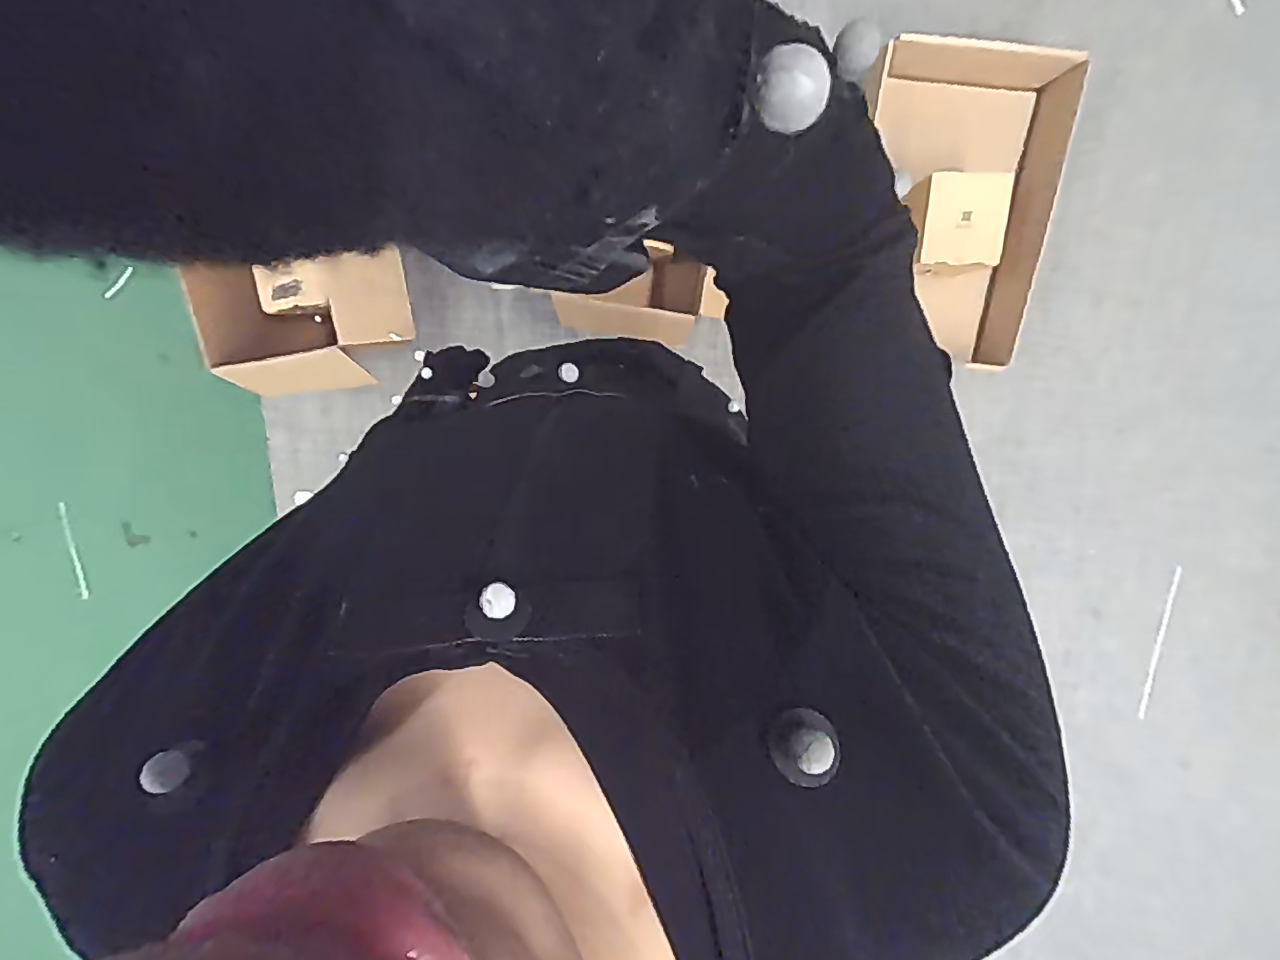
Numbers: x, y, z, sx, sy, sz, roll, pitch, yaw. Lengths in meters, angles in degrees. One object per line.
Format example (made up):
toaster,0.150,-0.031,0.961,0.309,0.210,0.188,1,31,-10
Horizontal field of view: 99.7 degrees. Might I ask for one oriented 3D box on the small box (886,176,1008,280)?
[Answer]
small box,0.662,-0.544,1.186,0.168,0.176,0.179,2,104,2
